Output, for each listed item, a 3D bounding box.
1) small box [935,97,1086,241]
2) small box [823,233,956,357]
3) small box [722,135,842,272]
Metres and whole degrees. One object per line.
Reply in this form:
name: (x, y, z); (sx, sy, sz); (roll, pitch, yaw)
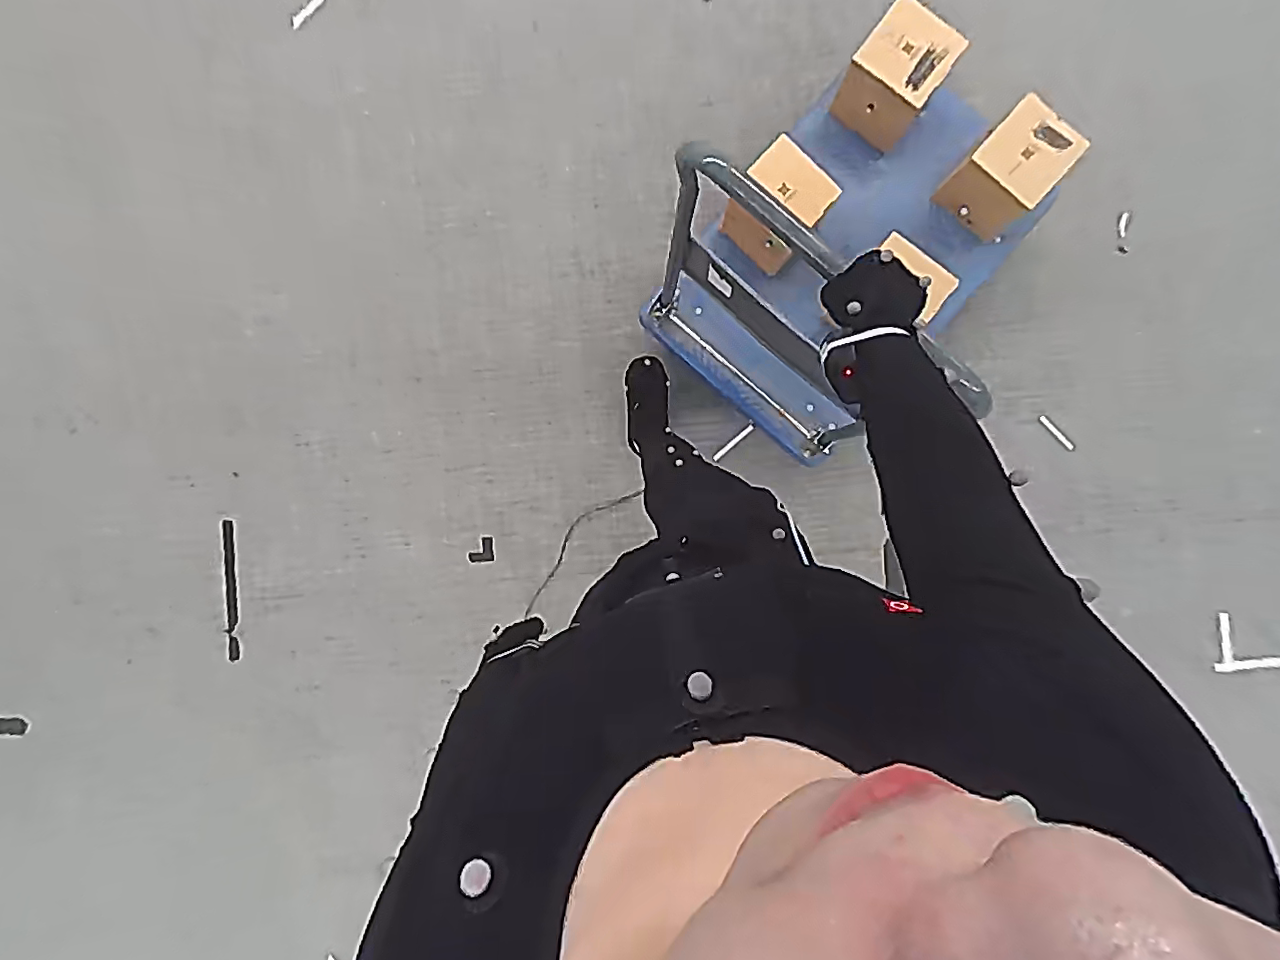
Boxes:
small box: (0.792, -0.665, 1.179); (0.168, 0.176, 0.179); (42, 93, 0)
small box: (0.536, -0.395, 1.192); (0.179, 0.176, 0.168); (39, 92, 1)
small box: (0.301, -0.597, 1.195); (0.179, 0.176, 0.168); (44, 92, -1)
